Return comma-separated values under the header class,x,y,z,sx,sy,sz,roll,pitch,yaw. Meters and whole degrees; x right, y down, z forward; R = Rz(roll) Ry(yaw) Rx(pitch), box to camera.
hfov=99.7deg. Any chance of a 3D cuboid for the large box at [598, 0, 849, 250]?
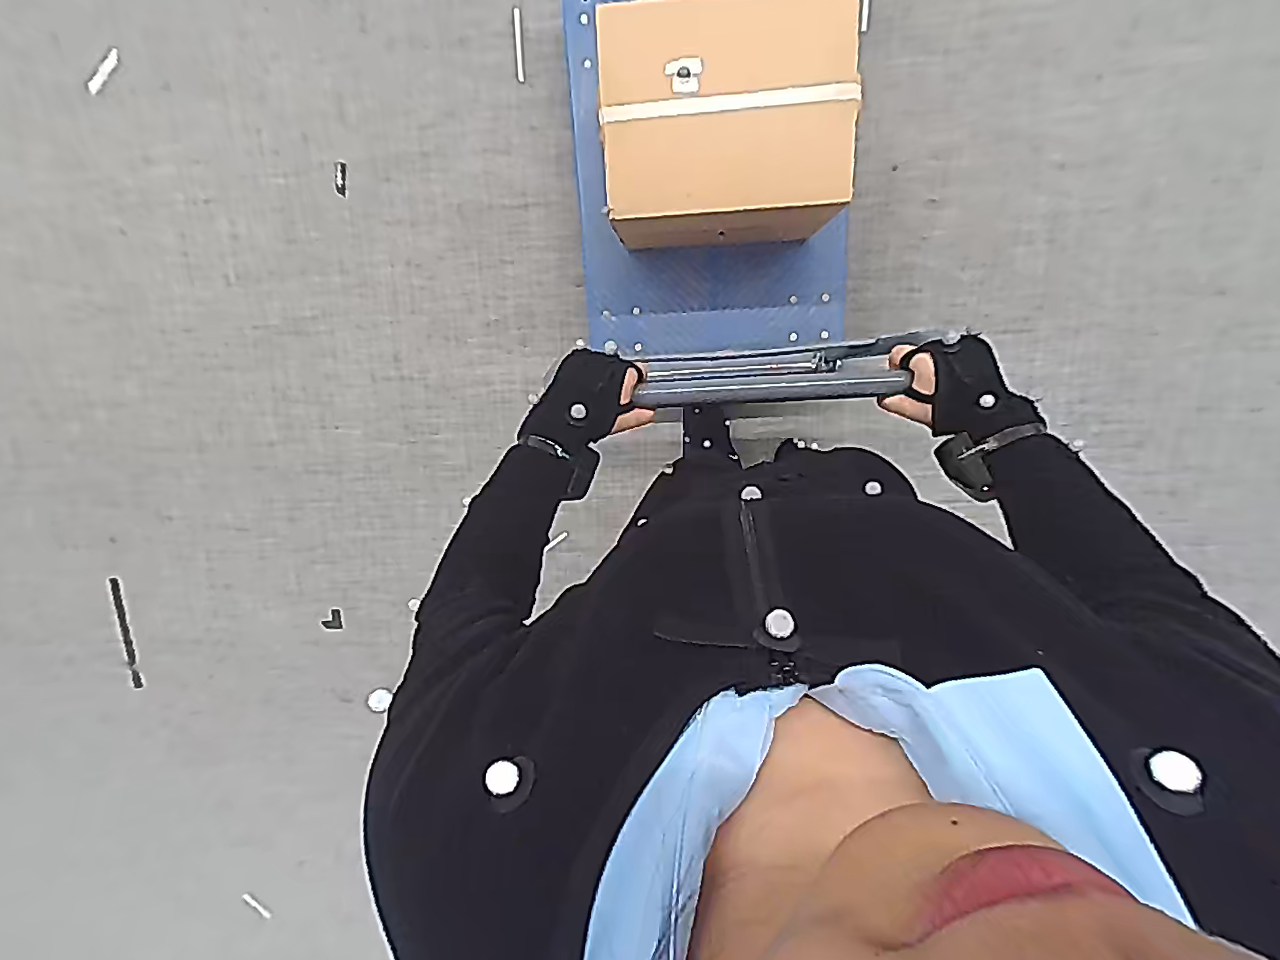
class,x,y,z,sx,sy,sz,roll,pitch,yaw
large box,0.152,-0.640,1.031,0.408,0.320,0.320,-2,103,6
